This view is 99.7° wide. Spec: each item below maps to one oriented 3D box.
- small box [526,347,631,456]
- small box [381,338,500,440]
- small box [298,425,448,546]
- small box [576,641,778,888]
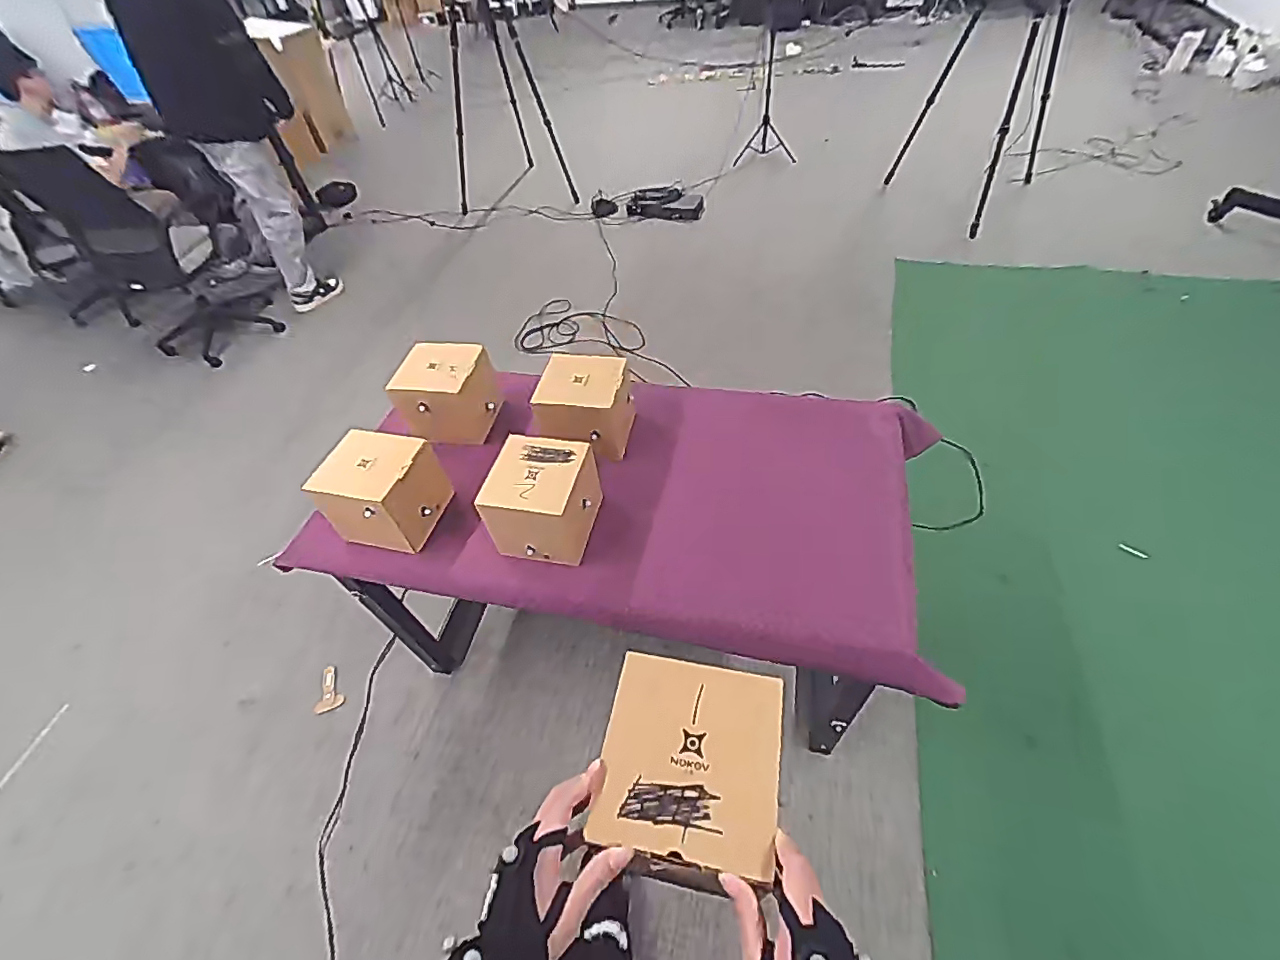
[{"bbox_3d":[-0.123,-0.168,1.184,0.179,0.176,0.168,6,51,12],"label":"small box"},{"bbox_3d":[-0.451,-0.209,1.253,0.179,0.176,0.168,5,52,10],"label":"small box"},{"bbox_3d":[-0.518,0.013,1.078,0.179,0.176,0.168,8,51,12],"label":"small box"},{"bbox_3d":[0.048,0.295,0.560,0.168,0.176,0.179,6,49,11],"label":"small box"}]
